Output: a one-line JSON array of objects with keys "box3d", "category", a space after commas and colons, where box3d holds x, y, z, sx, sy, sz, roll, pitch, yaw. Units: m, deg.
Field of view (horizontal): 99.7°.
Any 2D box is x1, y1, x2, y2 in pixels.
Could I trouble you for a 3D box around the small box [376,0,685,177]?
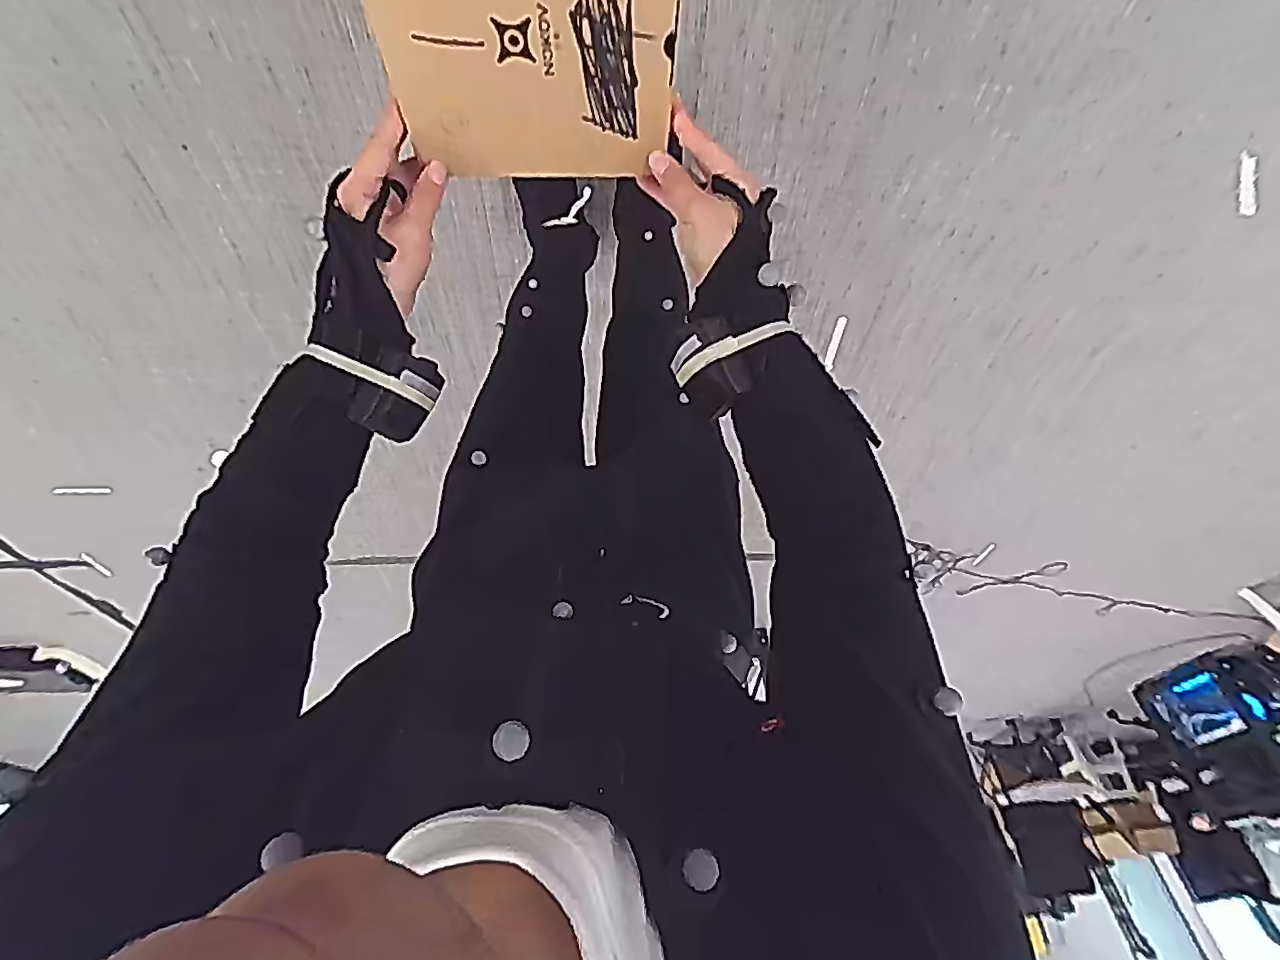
[{"box3d": [-0.067, -0.333, 0.360, 0.179, 0.176, 0.168, -1, 153, -3], "category": "small box"}]
